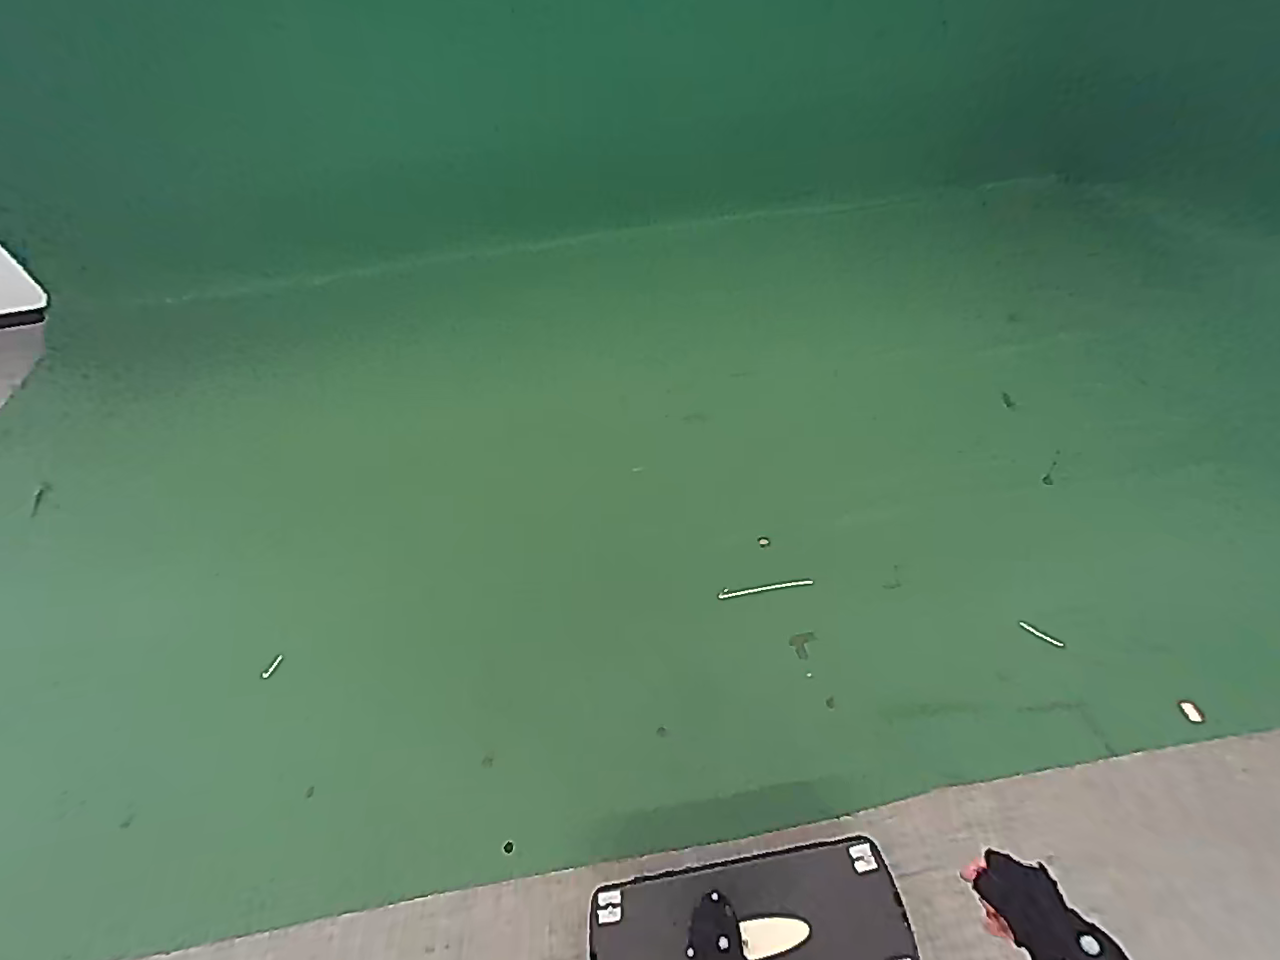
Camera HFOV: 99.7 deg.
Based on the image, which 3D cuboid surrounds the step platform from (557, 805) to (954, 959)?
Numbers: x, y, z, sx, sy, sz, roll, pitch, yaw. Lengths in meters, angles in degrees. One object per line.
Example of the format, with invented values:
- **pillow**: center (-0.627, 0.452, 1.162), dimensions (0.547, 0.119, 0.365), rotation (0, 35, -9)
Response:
- **step platform**: center (0.199, 0.848, 1.032), dimensions (0.684, 0.204, 0.286), rotation (-10, 52, -3)
